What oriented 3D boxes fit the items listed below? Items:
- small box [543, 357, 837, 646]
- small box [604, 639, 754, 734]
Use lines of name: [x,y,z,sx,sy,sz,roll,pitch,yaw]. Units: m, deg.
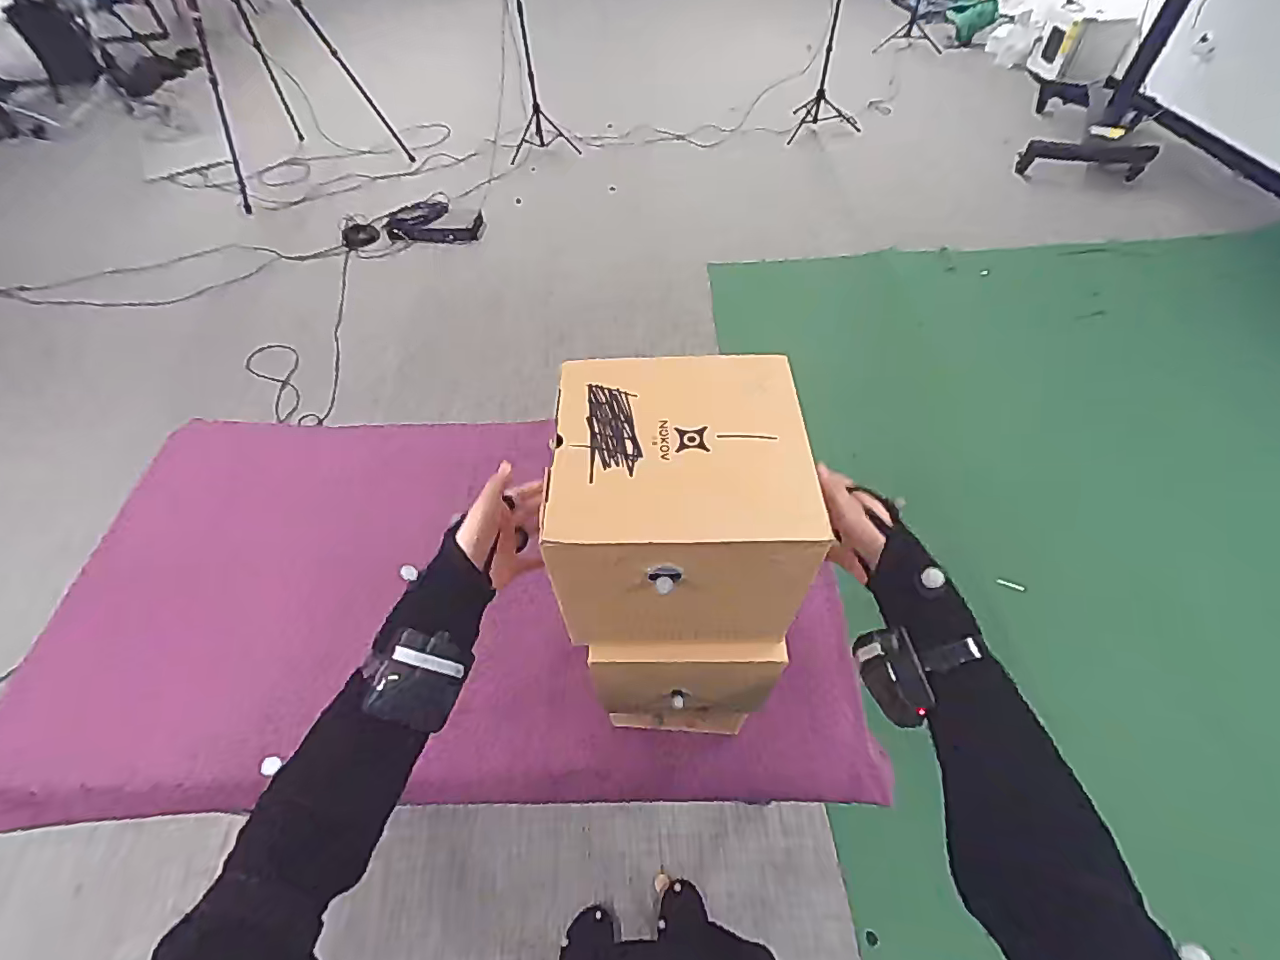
small box: [0.032,0.023,0.426,0.179,0.176,0.168,1,53,1]
small box: [0.052,0.214,0.694,0.168,0.176,0.179,2,53,4]
